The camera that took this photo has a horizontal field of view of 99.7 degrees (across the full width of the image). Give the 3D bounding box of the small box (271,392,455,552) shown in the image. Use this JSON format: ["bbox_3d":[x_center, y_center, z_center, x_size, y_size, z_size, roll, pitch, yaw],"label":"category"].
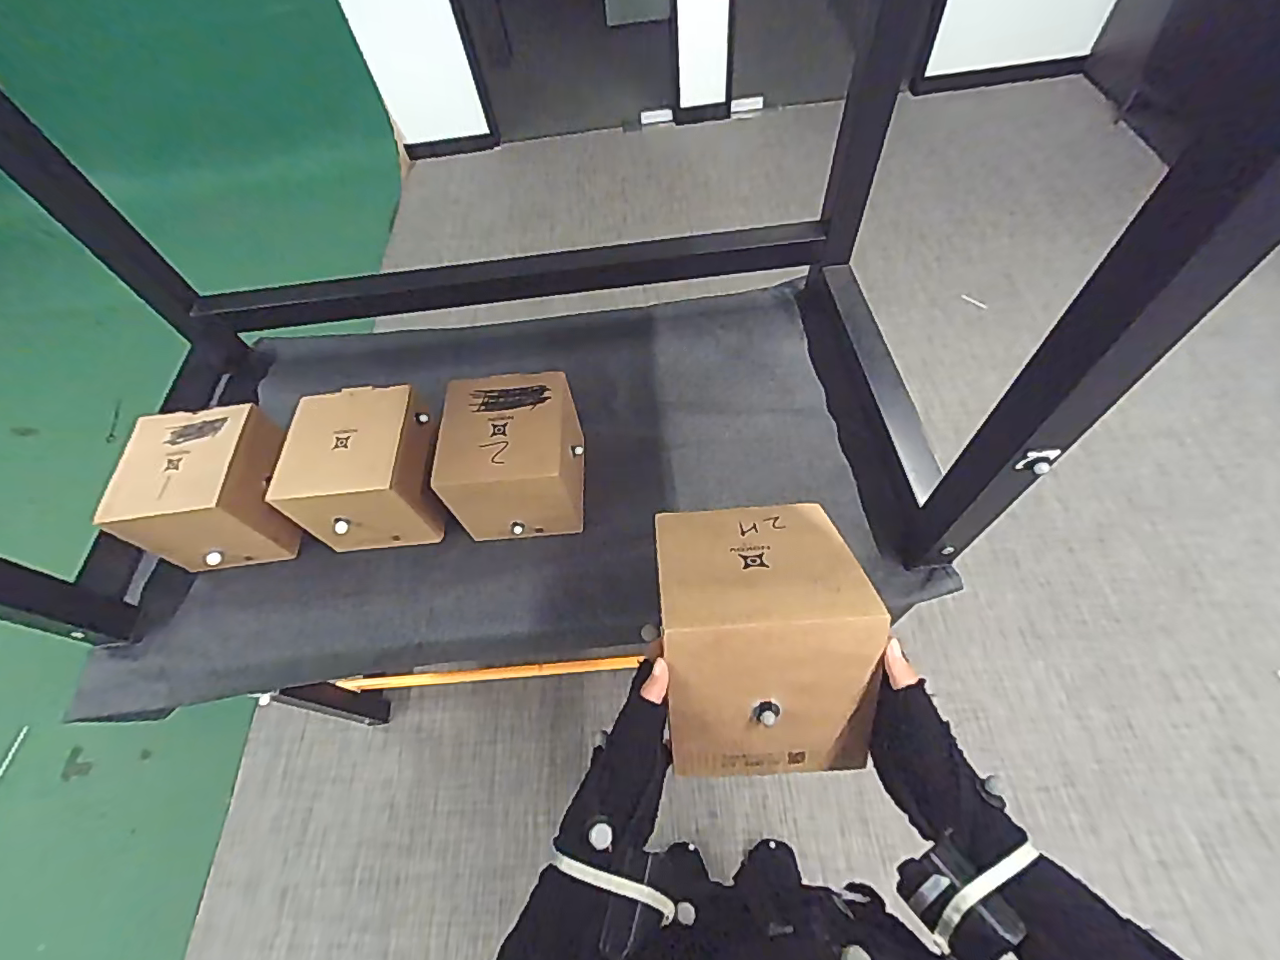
[{"bbox_3d":[-0.389,-0.003,0.798,0.168,0.176,0.179,-5,57,2],"label":"small box"}]

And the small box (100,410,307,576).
[{"bbox_3d":[-0.614,0.023,0.803,0.168,0.176,0.179,-8,58,1],"label":"small box"}]

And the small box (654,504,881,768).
[{"bbox_3d":[0.102,0.140,0.498,0.168,0.176,0.179,-4,25,2],"label":"small box"}]
